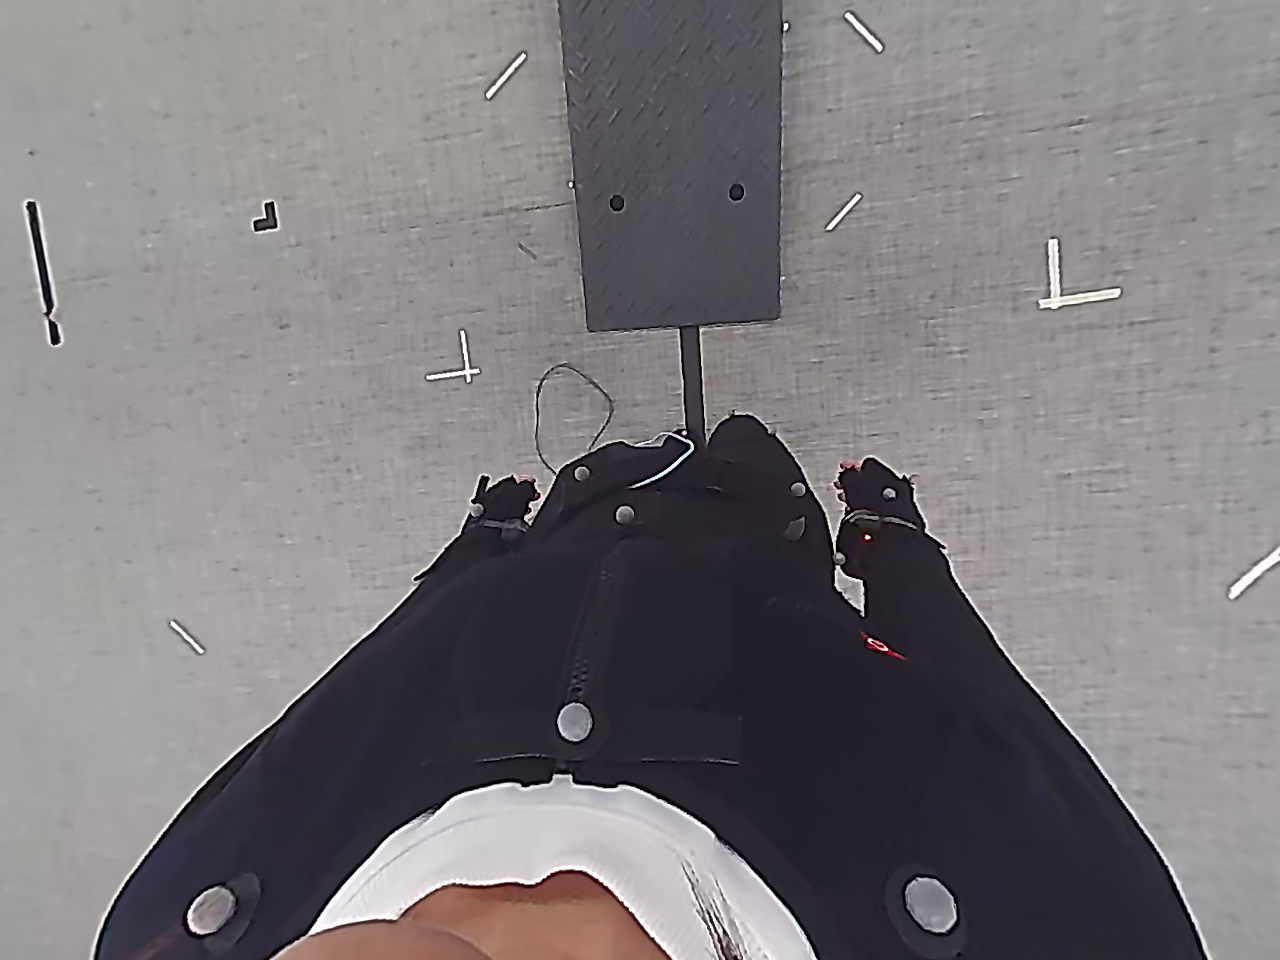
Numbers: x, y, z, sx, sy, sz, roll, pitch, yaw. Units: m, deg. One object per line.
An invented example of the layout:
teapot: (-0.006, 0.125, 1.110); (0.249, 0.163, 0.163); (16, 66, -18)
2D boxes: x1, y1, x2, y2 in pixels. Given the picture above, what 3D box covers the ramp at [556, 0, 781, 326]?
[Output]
ramp: (0.071, -0.881, 1.226); (0.509, 0.206, 0.991); (-4, 98, 6)
